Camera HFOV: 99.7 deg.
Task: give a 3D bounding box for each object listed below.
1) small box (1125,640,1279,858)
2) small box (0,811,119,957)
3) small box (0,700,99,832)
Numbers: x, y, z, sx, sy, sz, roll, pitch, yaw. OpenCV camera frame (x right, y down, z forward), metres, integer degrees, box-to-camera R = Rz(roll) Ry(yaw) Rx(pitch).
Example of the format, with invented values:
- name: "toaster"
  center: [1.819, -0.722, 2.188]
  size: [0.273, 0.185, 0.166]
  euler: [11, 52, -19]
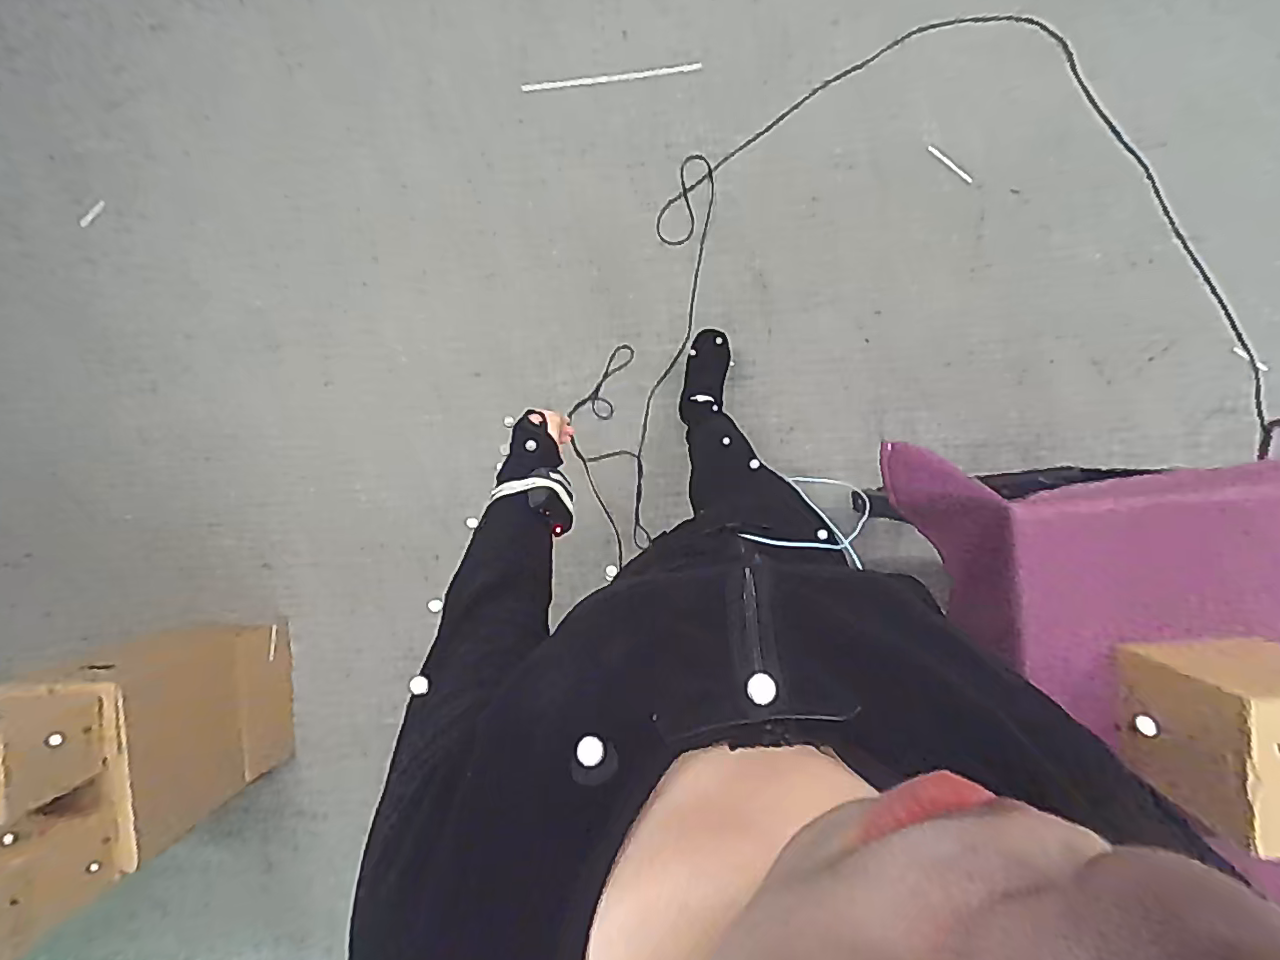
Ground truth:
- name: "small box"
  center: [0.711, 0.288, 0.613]
  size: [0.179, 0.176, 0.168]
  euler: [-5, 91, 5]
- name: "small box"
  center: [-1.187, 0.780, 1.060]
  size: [0.179, 0.176, 0.168]
  euler: [-2, 90, 3]
- name: "small box"
  center: [-1.211, 0.545, 1.052]
  size: [0.179, 0.176, 0.168]
  euler: [1, 93, 5]
